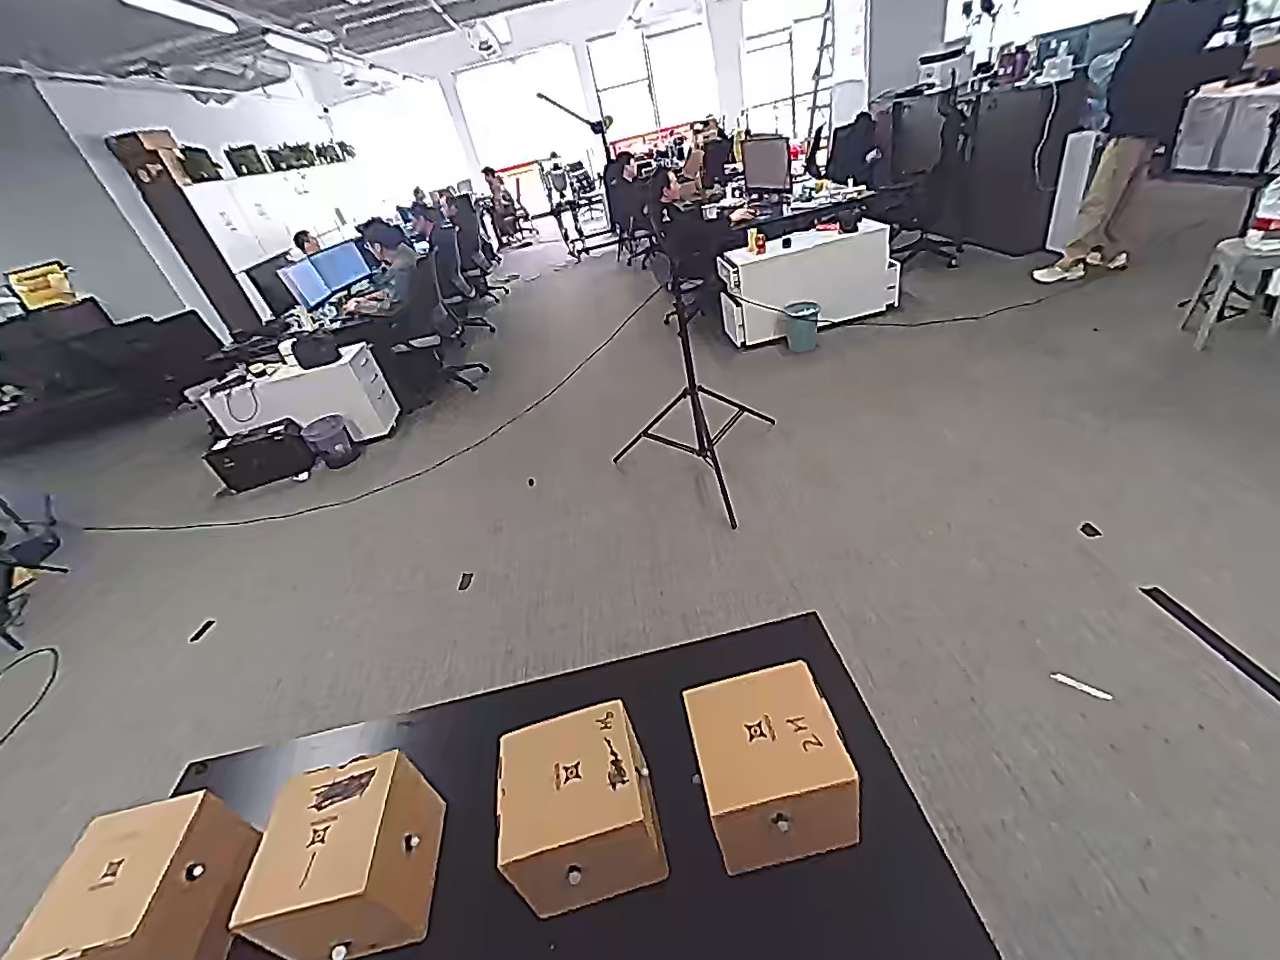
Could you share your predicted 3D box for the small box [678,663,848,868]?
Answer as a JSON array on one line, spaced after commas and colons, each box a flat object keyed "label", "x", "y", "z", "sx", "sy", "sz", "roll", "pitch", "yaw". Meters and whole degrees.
[{"label": "small box", "x": 0.163, "y": 0.382, "z": 0.723, "sx": 0.179, "sy": 0.176, "sz": 0.168, "roll": -14, "pitch": 34, "yaw": 0}]

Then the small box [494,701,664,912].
[{"label": "small box", "x": -0.081, "y": 0.440, "z": 0.731, "sx": 0.179, "sy": 0.176, "sz": 0.168, "roll": -17, "pitch": 34, "yaw": -3}]

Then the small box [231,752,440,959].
[{"label": "small box", "x": -0.391, "y": 0.513, "z": 0.737, "sx": 0.168, "sy": 0.176, "sz": 0.179, "roll": -14, "pitch": 34, "yaw": 0}]

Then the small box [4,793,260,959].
[{"label": "small box", "x": -0.671, "y": 0.578, "z": 0.746, "sx": 0.168, "sy": 0.176, "sz": 0.179, "roll": -14, "pitch": 33, "yaw": -2}]
